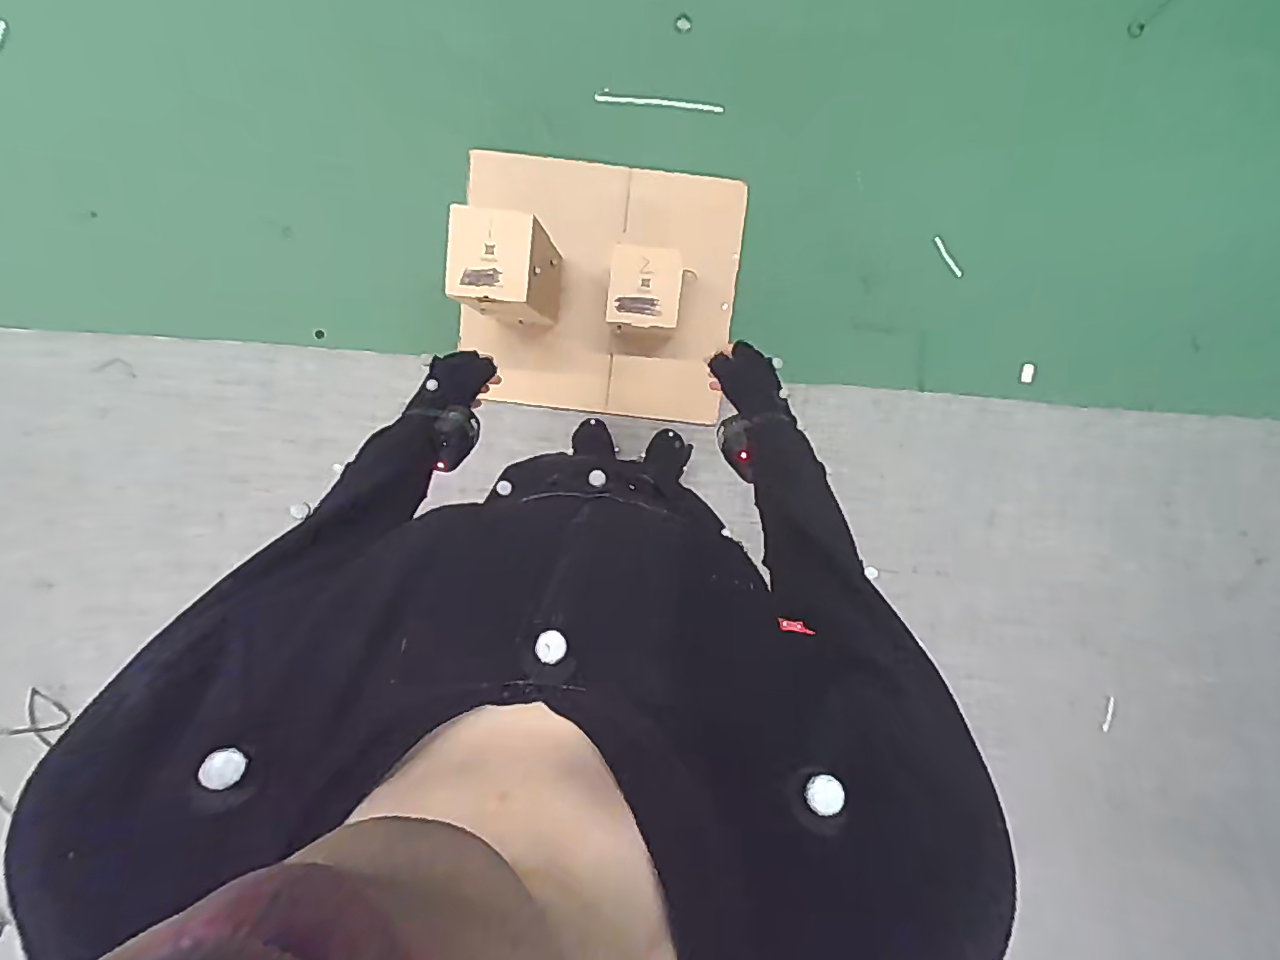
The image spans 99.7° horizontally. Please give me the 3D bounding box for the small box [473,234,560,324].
[{"bbox_3d":[-0.290,-0.482,1.295,0.168,0.176,0.179,5,99,1],"label":"small box"}]

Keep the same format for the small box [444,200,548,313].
[{"bbox_3d":[-0.294,-0.457,1.133,0.168,0.176,0.179,7,98,0],"label":"small box"}]
